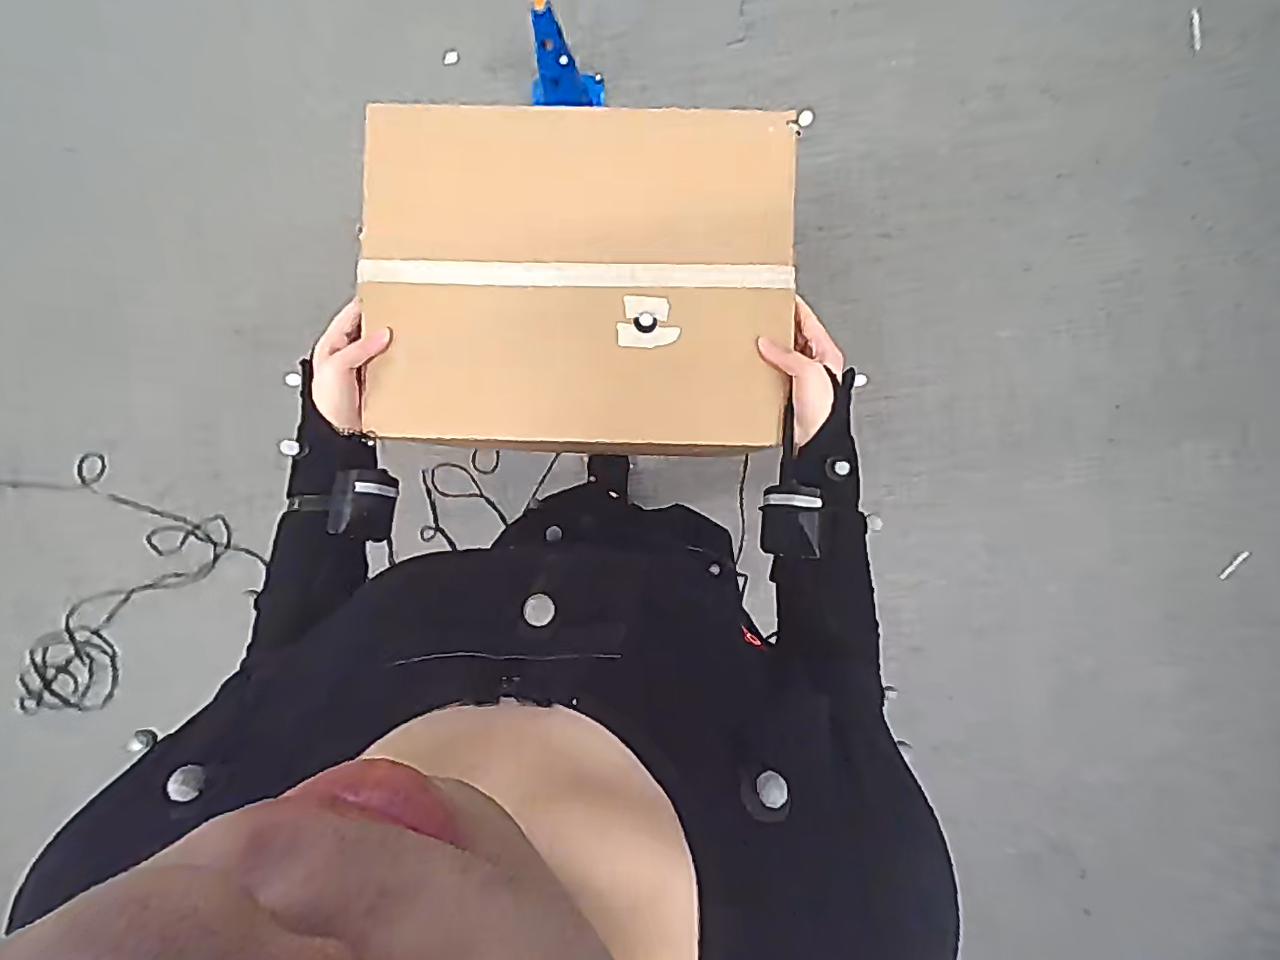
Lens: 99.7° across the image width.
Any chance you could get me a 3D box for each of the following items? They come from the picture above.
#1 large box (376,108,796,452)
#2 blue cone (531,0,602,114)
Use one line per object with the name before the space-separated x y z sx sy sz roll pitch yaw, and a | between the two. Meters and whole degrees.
large box | -0.054 -0.198 0.665 0.408 0.320 0.320 2 91 -1
blue cone | -0.205 -0.996 1.315 0.193 0.380 0.192 1 91 2
